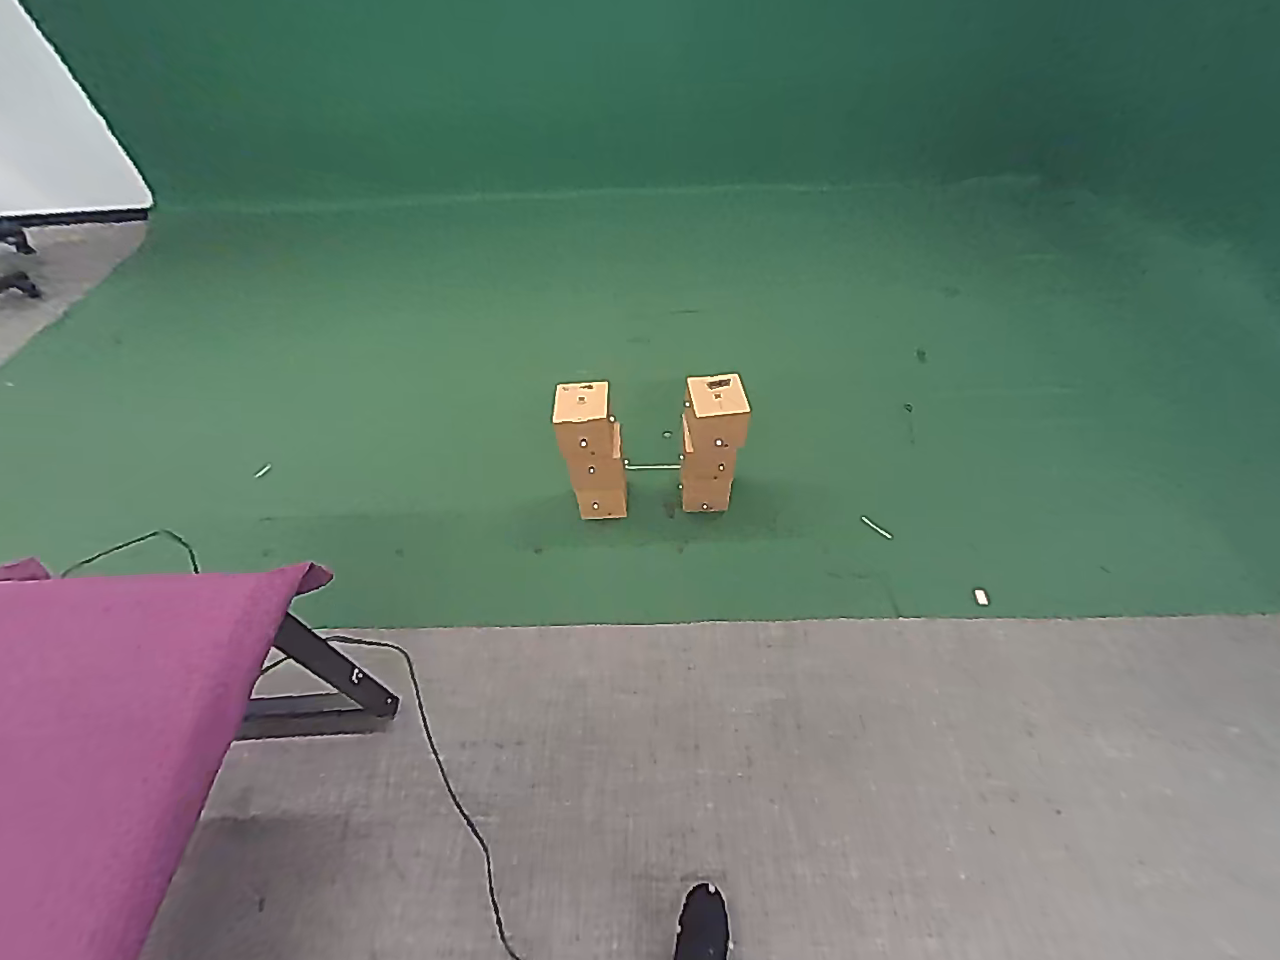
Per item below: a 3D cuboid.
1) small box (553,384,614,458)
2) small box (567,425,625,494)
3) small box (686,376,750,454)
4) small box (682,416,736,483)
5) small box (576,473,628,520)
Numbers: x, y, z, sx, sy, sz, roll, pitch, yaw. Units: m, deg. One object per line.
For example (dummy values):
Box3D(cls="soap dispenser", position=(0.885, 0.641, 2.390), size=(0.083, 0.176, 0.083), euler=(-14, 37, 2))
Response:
Box3D(cls="small box", position=(-0.174, -0.181, 1.720), size=(0.168, 0.176, 0.179), euler=(-3, 50, 3))
Box3D(cls="small box", position=(-0.145, -0.066, 1.836), size=(0.179, 0.176, 0.168), euler=(-3, 50, 1))
Box3D(cls="small box", position=(0.240, -0.205, 1.712), size=(0.168, 0.176, 0.179), euler=(-7, 53, -3))
Box3D(cls="small box", position=(0.231, -0.102, 1.839), size=(0.168, 0.176, 0.179), euler=(-2, 51, 1))
Box3D(cls="small box", position=(-0.133, 0.035, 1.965), size=(0.168, 0.176, 0.179), euler=(-3, 49, 2))
